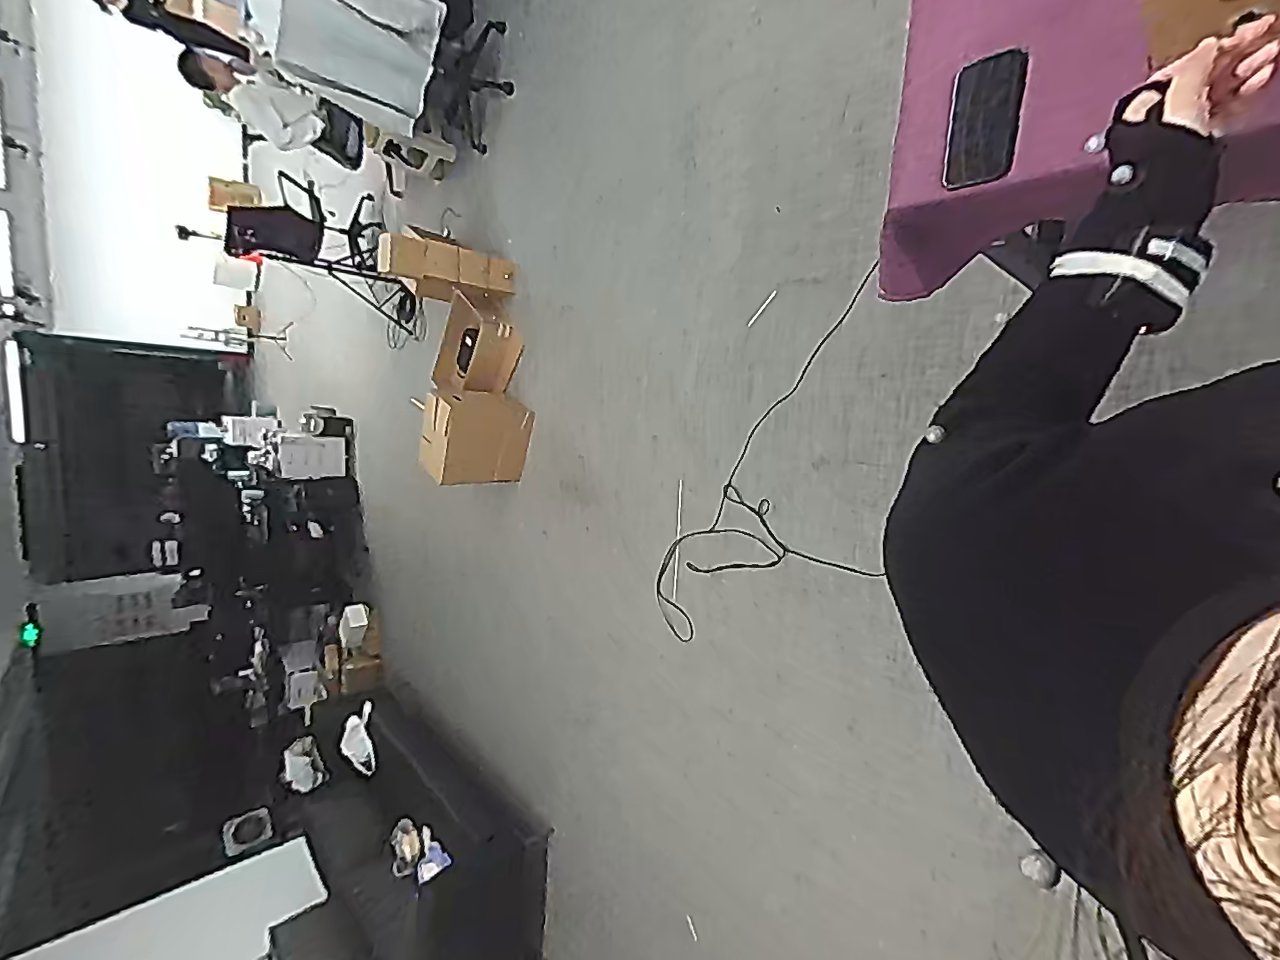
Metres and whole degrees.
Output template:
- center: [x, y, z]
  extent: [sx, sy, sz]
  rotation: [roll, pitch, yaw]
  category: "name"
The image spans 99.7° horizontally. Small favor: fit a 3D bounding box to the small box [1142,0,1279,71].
- center: [0.555, -0.504, 0.459]
  extent: [0.168, 0.176, 0.179]
  rotation: [16, 104, 44]
  category: "small box"
